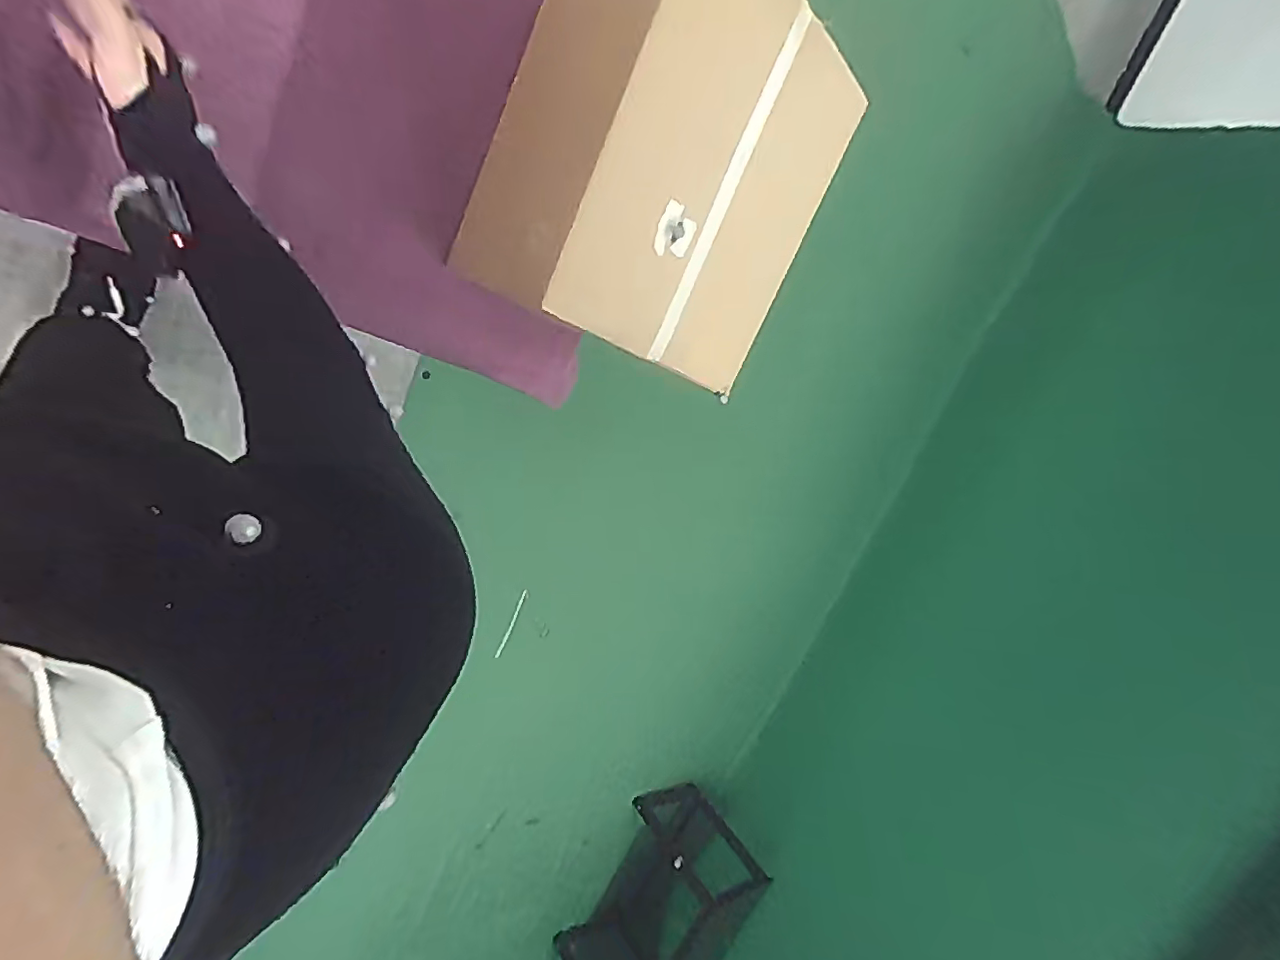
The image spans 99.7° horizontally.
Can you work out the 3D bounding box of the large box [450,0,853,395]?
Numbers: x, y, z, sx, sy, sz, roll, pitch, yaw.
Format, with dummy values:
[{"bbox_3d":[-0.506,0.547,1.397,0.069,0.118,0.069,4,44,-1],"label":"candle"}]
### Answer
[{"bbox_3d":[-0.002,-0.383,0.720,0.320,0.320,0.408,15,105,-42],"label":"large box"}]
